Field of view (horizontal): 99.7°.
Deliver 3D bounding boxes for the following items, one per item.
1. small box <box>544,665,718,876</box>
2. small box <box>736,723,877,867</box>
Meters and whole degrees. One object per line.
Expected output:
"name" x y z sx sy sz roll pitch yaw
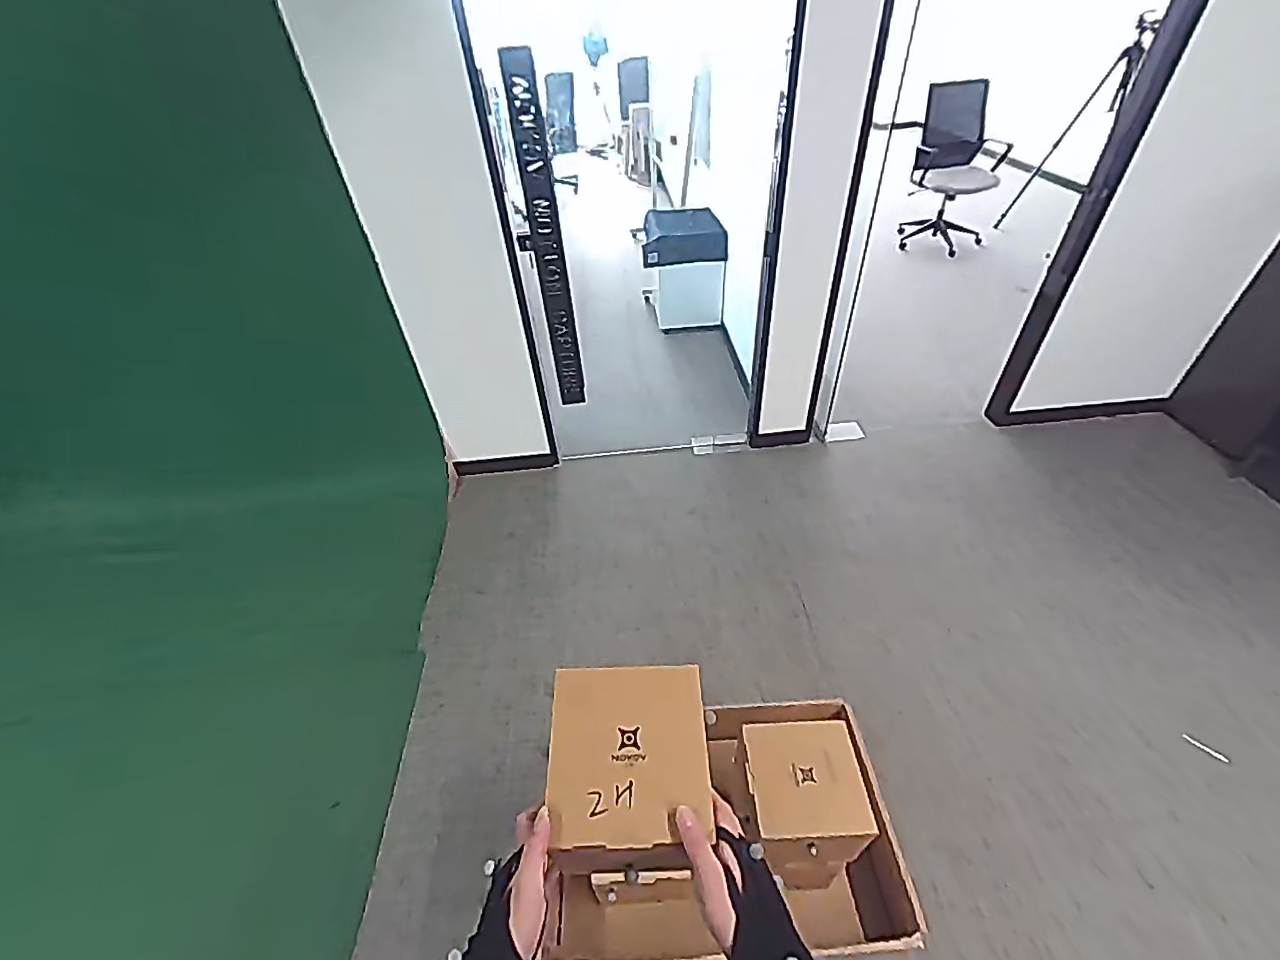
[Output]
"small box" -0.010 0.330 0.614 0.168 0.176 0.179 -1 48 0
"small box" 0.256 0.518 0.887 0.179 0.176 0.168 -2 43 0
